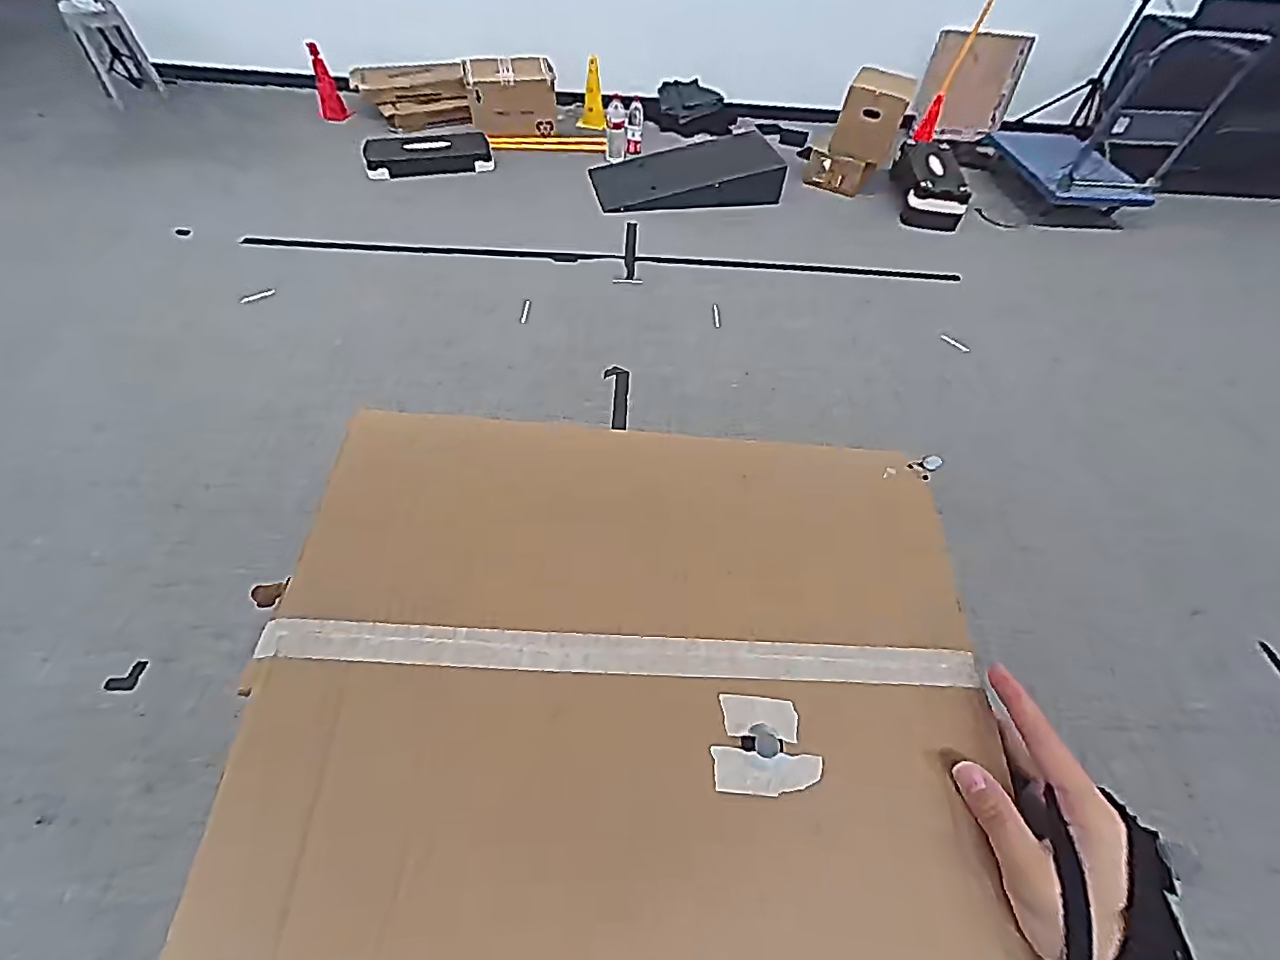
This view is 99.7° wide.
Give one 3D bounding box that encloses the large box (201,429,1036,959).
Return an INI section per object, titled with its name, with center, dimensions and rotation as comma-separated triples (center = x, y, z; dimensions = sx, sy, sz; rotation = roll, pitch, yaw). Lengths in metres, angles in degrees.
[large box]
center = -0.014, 0.181, 0.452
dimensions = 0.408, 0.320, 0.320
rotation = 4, 60, -5
